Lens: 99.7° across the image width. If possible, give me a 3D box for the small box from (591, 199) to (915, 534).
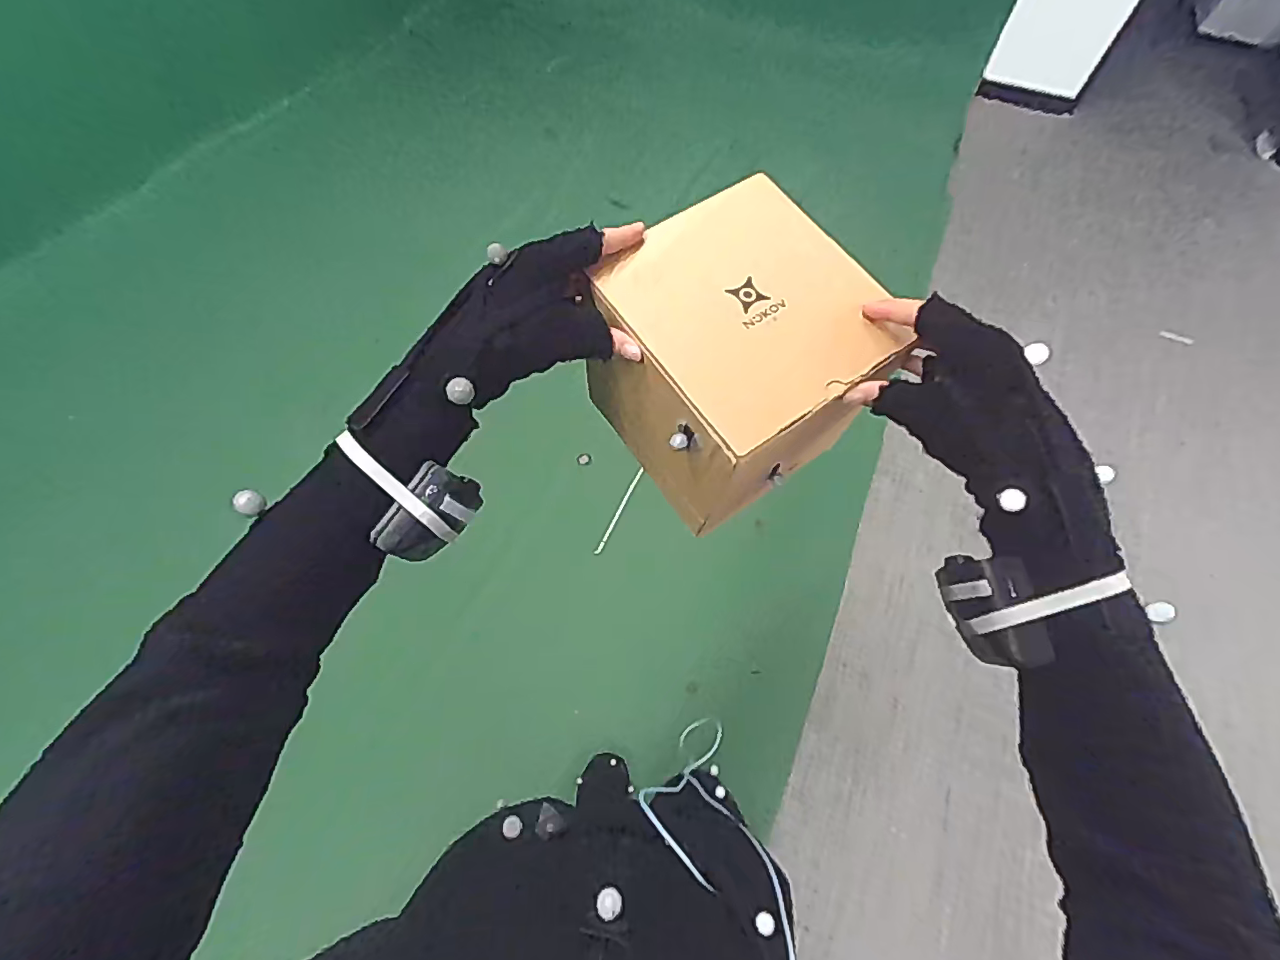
[{"bbox_3d":[0.072,-0.082,0.449,0.168,0.176,0.179,-32,74,-15],"label":"small box"}]
